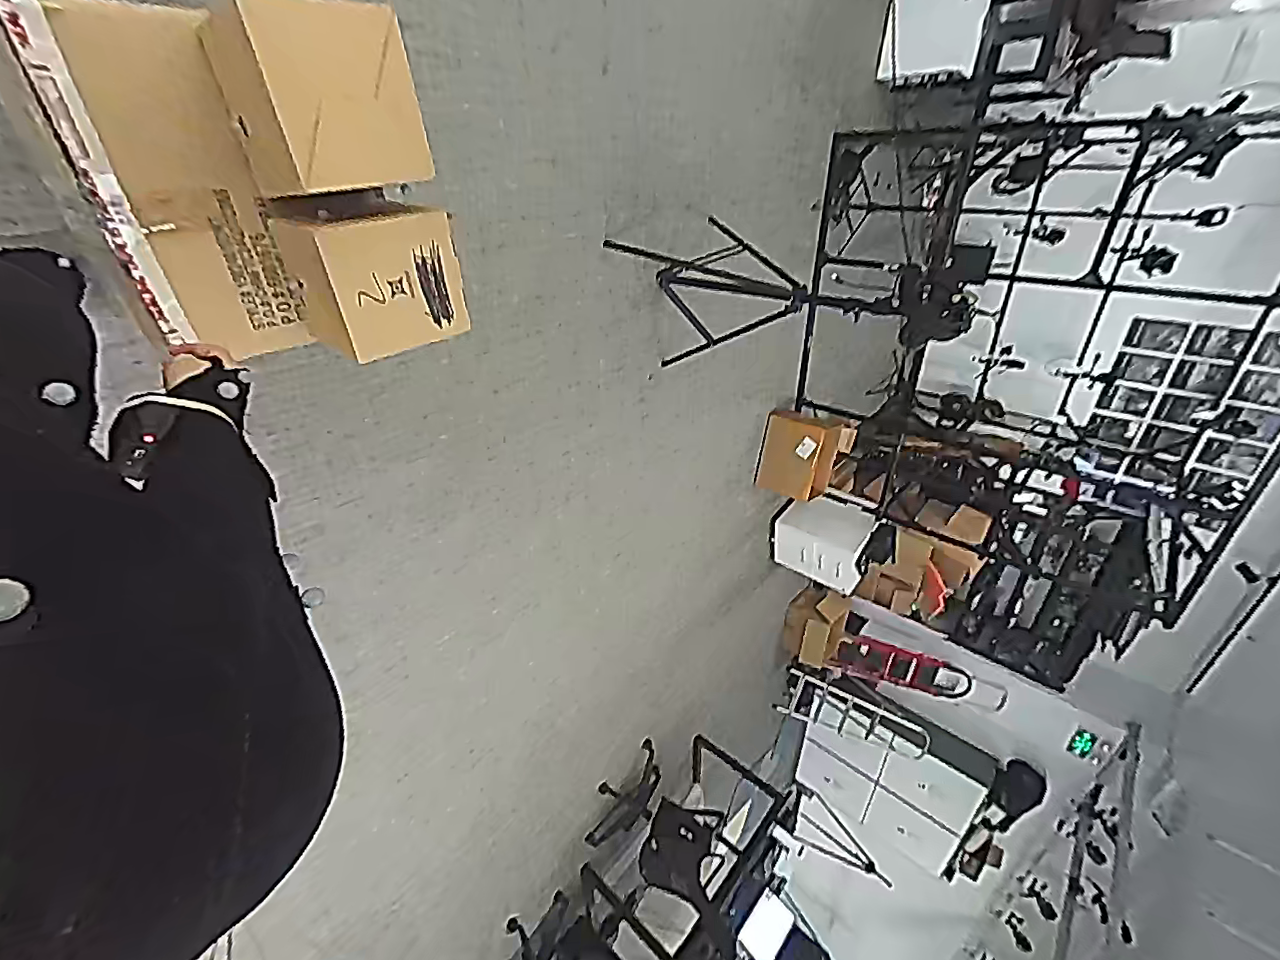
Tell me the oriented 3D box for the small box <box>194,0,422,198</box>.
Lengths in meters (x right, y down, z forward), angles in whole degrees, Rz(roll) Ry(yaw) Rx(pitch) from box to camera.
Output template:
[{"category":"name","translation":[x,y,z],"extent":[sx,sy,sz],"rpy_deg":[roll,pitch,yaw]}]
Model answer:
[{"category":"small box","translation":[-0.395,-0.453,0.662],"extent":[0.168,0.176,0.179],"rpy_deg":[-32,130,-38]}]
